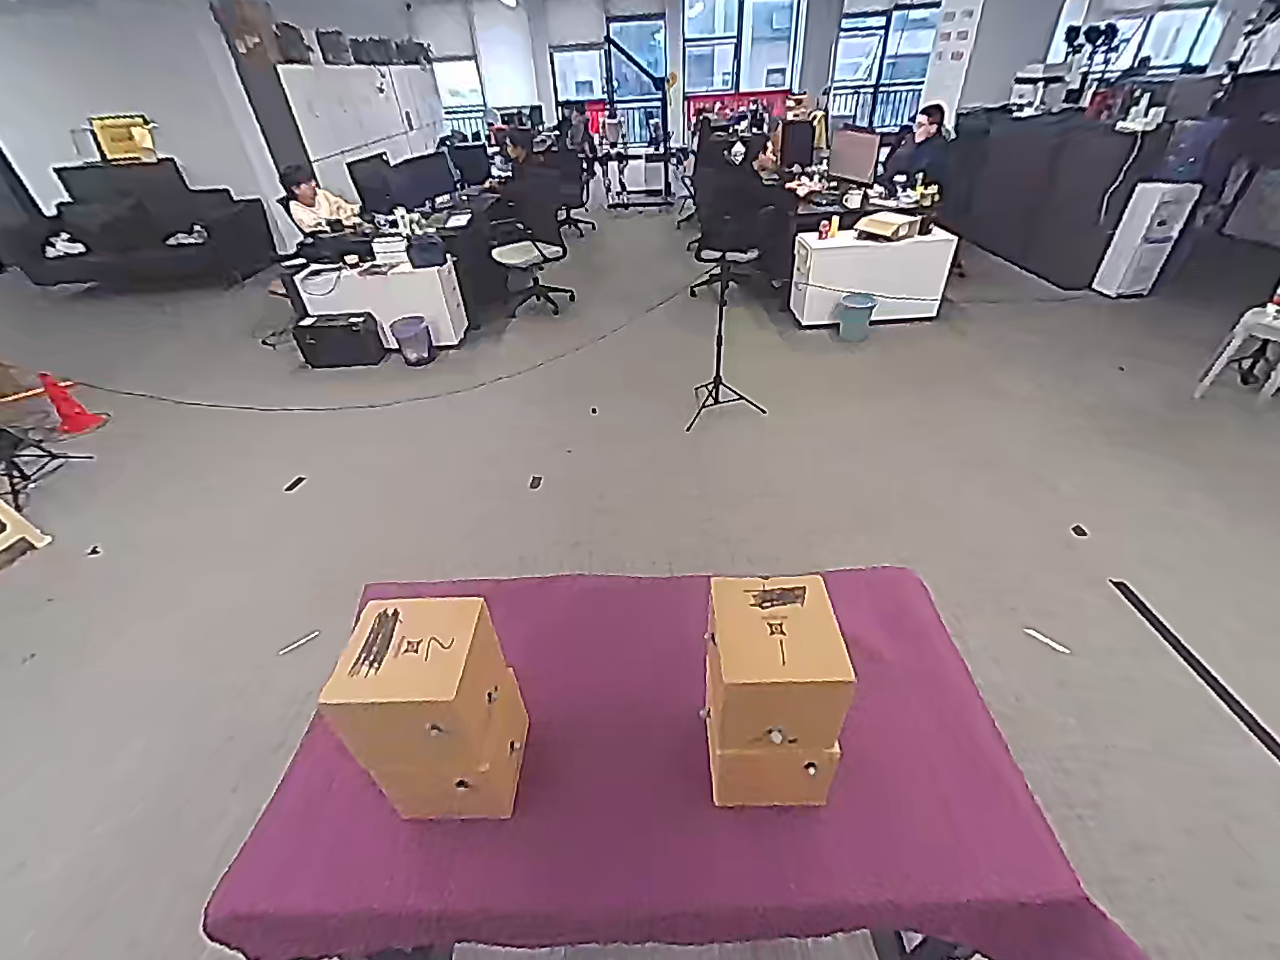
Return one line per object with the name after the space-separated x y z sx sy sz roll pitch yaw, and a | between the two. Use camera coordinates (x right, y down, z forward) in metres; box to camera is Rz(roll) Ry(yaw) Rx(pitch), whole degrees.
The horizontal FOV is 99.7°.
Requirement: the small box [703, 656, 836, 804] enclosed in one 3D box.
0.194 0.397 0.865 0.179 0.176 0.168 -2 37 2 | small box

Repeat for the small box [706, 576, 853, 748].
0.184 0.259 0.776 0.168 0.176 0.179 -2 38 2 | small box

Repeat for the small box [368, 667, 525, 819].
-0.293 0.422 0.870 0.179 0.176 0.168 -1 37 3 | small box
